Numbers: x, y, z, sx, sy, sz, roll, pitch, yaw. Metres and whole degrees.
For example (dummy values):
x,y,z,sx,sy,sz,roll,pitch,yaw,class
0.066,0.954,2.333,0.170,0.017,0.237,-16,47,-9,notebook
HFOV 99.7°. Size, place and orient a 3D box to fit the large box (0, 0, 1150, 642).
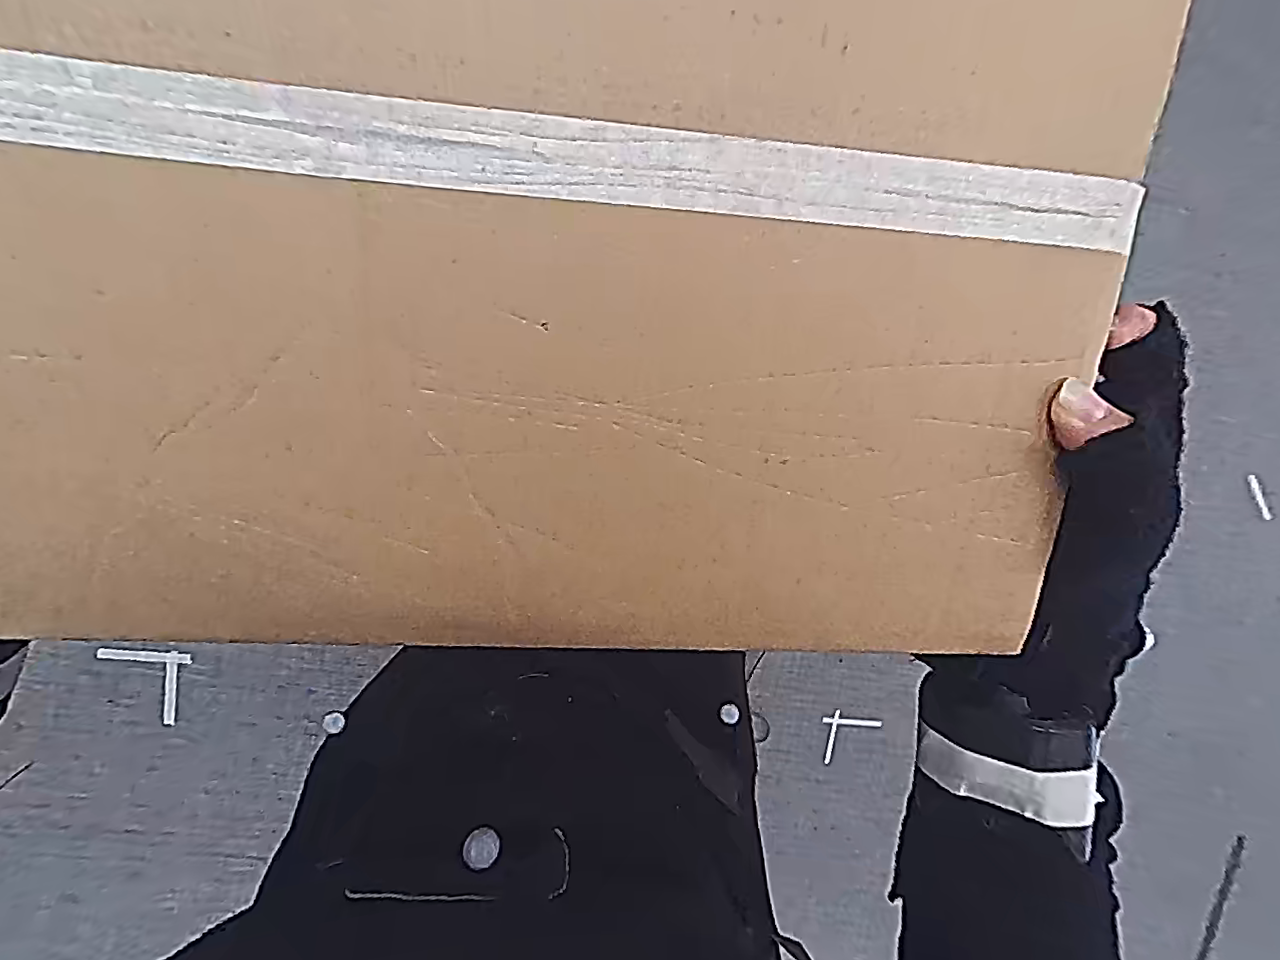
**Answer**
x,y,z,sx,sy,sz,roll,pitch,yaw,class
-0.057,-0.127,0.310,0.408,0.320,0.320,3,103,-6,large box
